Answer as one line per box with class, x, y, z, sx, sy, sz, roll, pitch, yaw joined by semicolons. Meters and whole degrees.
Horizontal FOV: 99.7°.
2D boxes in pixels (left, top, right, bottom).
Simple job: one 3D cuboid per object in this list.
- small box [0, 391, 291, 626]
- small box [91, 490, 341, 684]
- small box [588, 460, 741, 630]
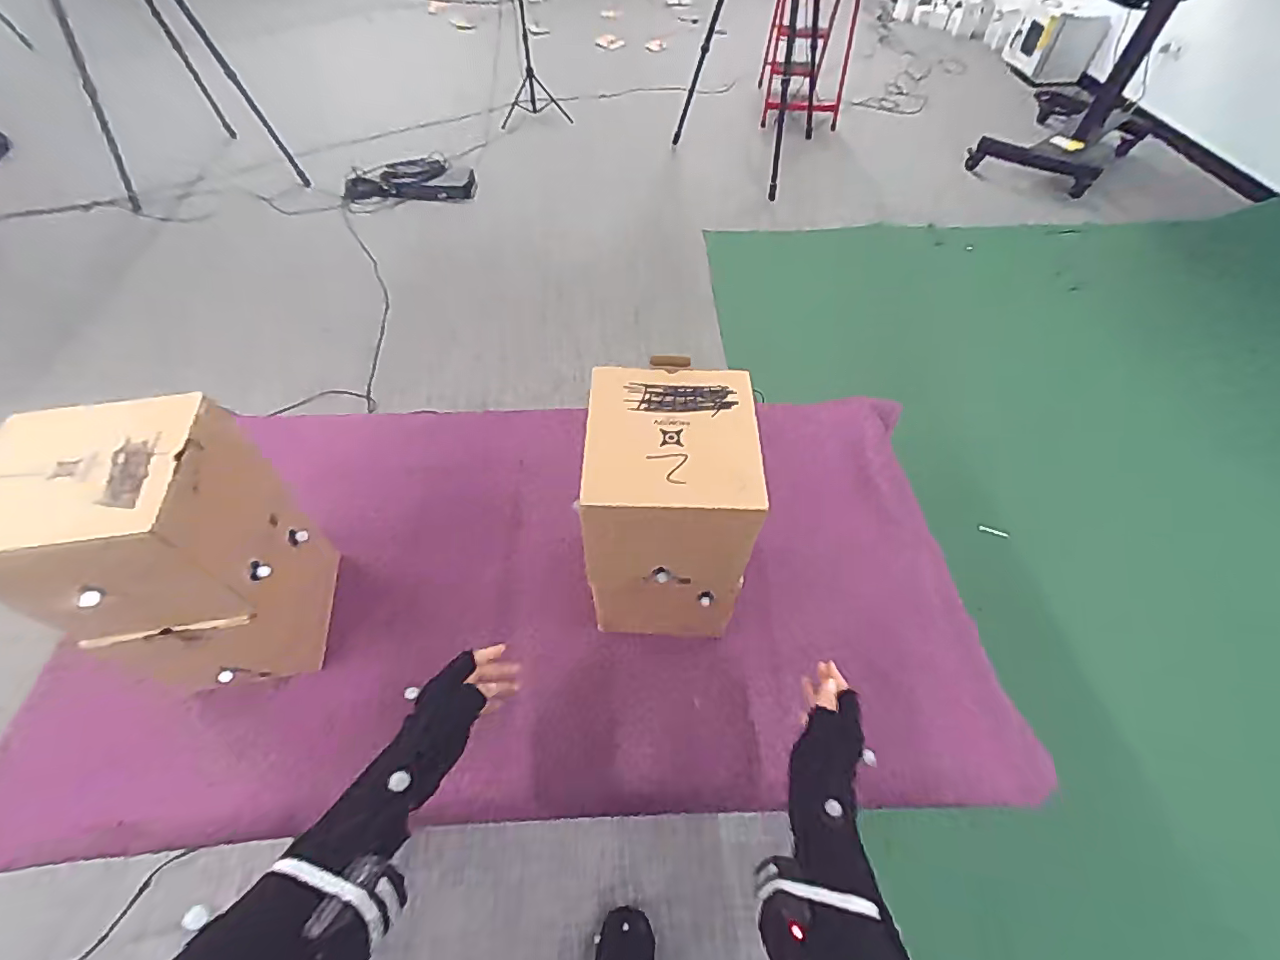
small box;-0.495;0.032;0.546;0.179;0.176;0.168;-6;52;-5
small box;-0.502;0.135;0.678;0.168;0.176;0.179;-8;55;-6
small box;0.031;0.090;0.717;0.179;0.176;0.168;2;54;1
